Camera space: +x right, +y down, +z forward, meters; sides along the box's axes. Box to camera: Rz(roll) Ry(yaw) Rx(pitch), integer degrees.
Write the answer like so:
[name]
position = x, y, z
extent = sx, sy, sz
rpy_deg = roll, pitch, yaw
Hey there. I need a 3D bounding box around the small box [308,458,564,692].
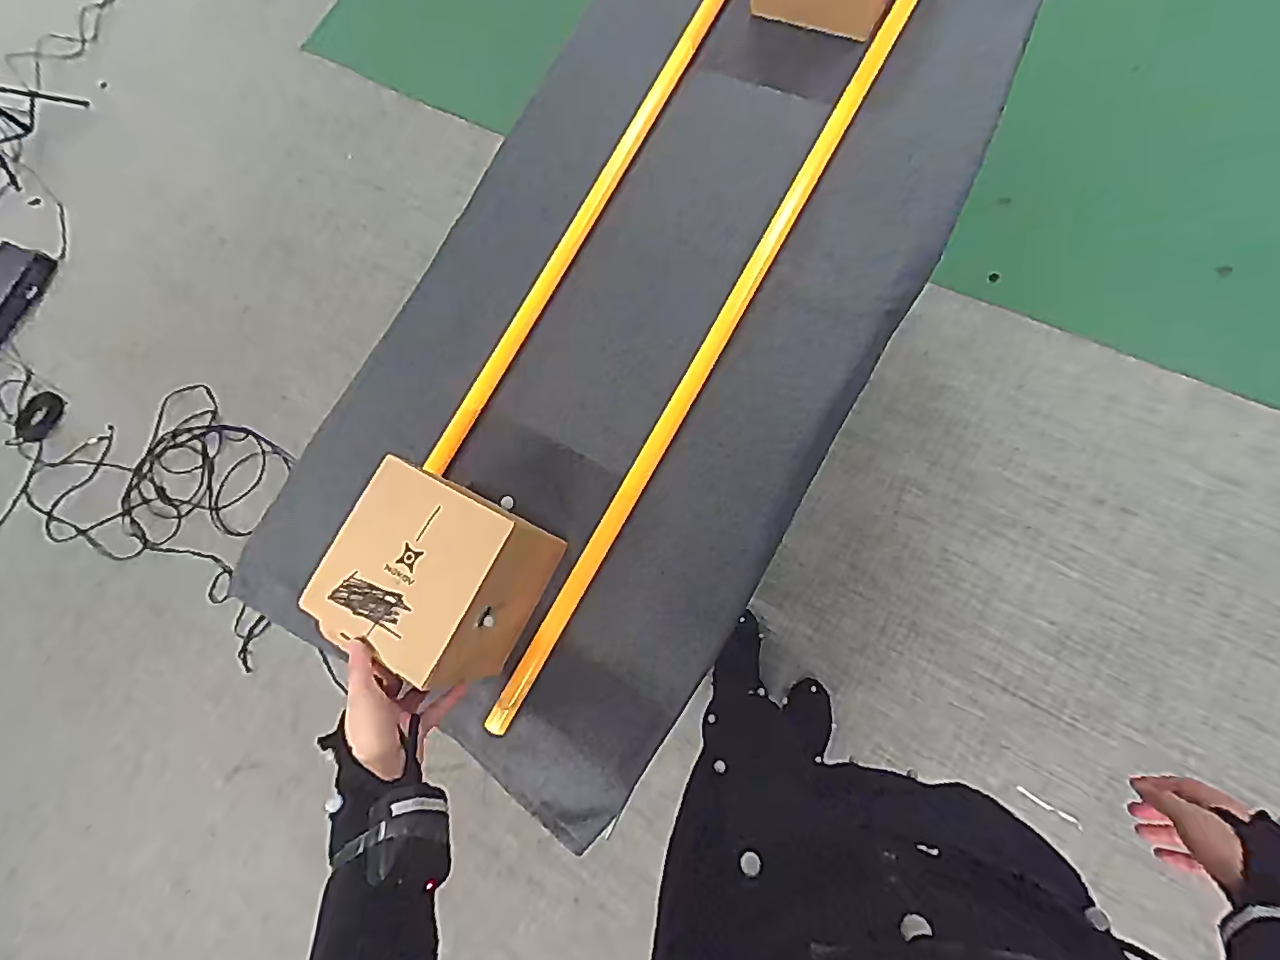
[small box]
position = -0.207, 0.105, 0.600
extent = 0.168, 0.176, 0.179
rpy_deg = 26, 82, 15
